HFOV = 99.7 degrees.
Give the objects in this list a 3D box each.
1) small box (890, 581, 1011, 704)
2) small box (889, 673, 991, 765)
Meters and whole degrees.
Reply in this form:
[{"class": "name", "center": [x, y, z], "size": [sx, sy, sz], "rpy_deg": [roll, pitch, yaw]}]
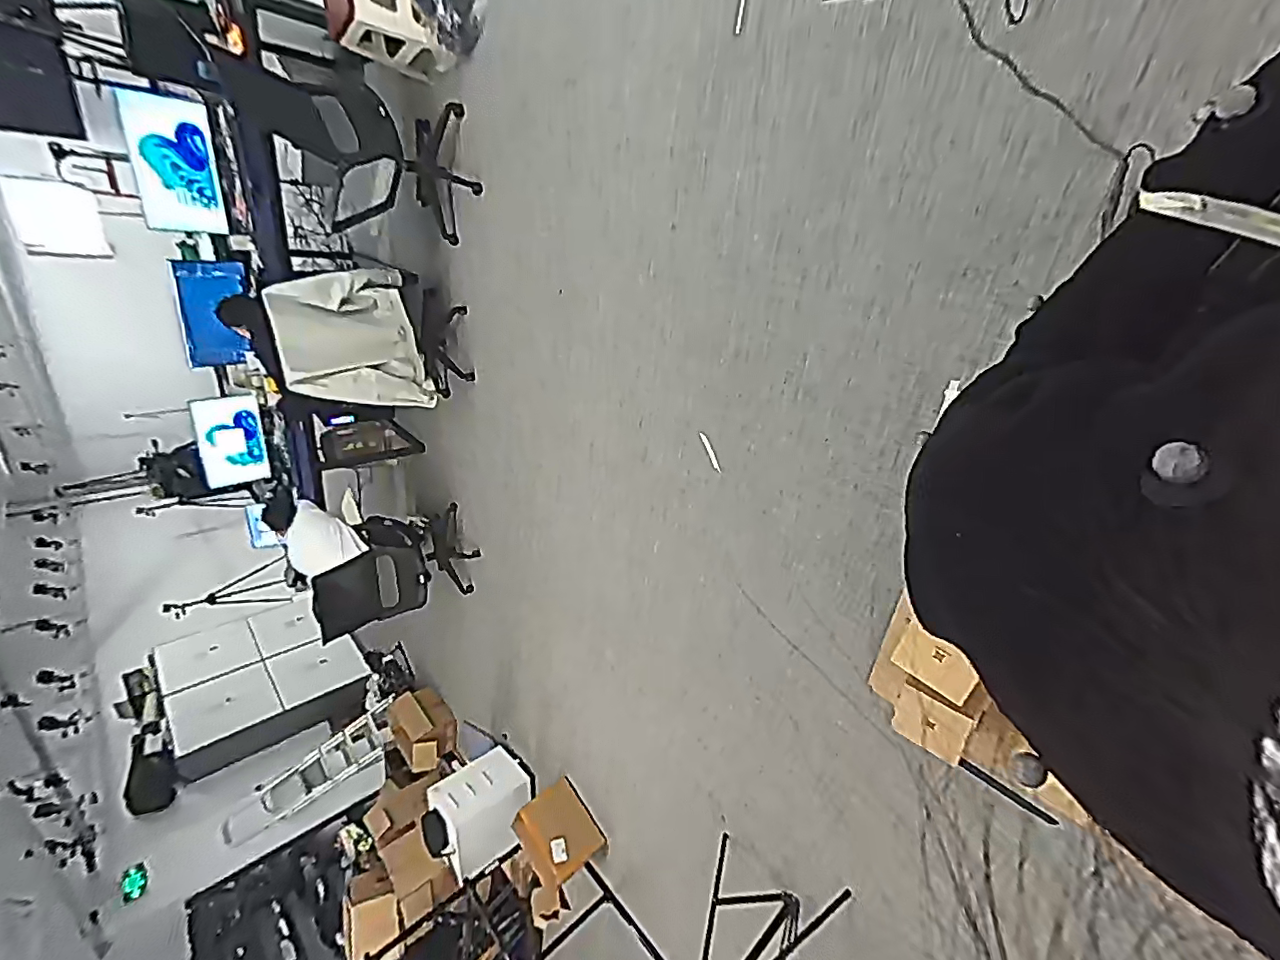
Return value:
[{"class": "small box", "center": [0.715, 0.365, 1.241], "size": [0.168, 0.176, 0.179], "rpy_deg": [33, 124, 36]}, {"class": "small box", "center": [0.812, 0.616, 1.466], "size": [0.179, 0.176, 0.168], "rpy_deg": [24, 121, 41]}]
